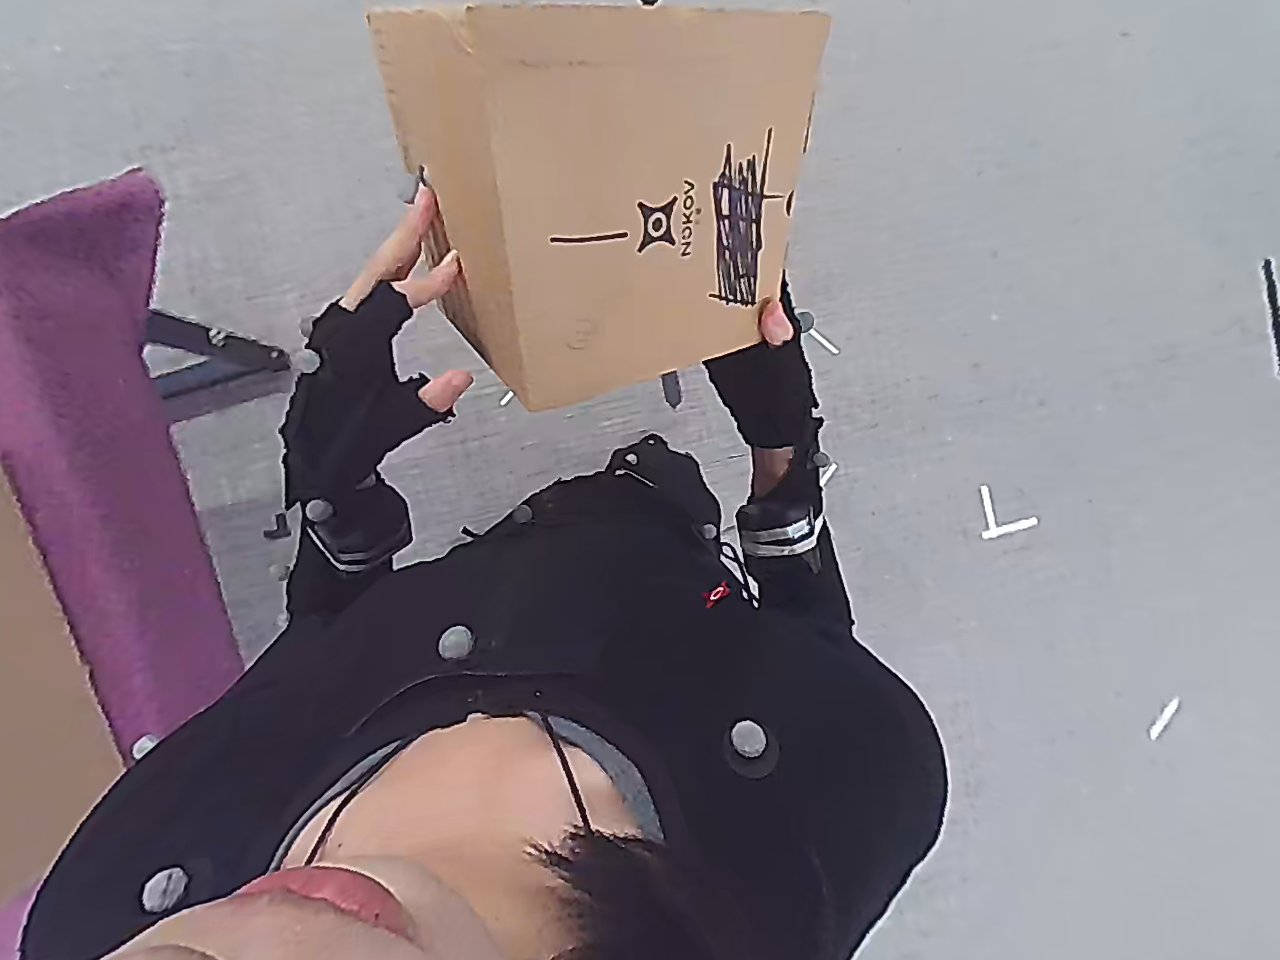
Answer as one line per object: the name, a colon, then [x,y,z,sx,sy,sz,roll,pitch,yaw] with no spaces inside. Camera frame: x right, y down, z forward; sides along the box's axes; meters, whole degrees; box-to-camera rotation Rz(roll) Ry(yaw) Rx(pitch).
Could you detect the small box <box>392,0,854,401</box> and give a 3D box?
small box: [-0.018,-0.173,0.314,0.179,0.176,0.168,-20,133,-24]
